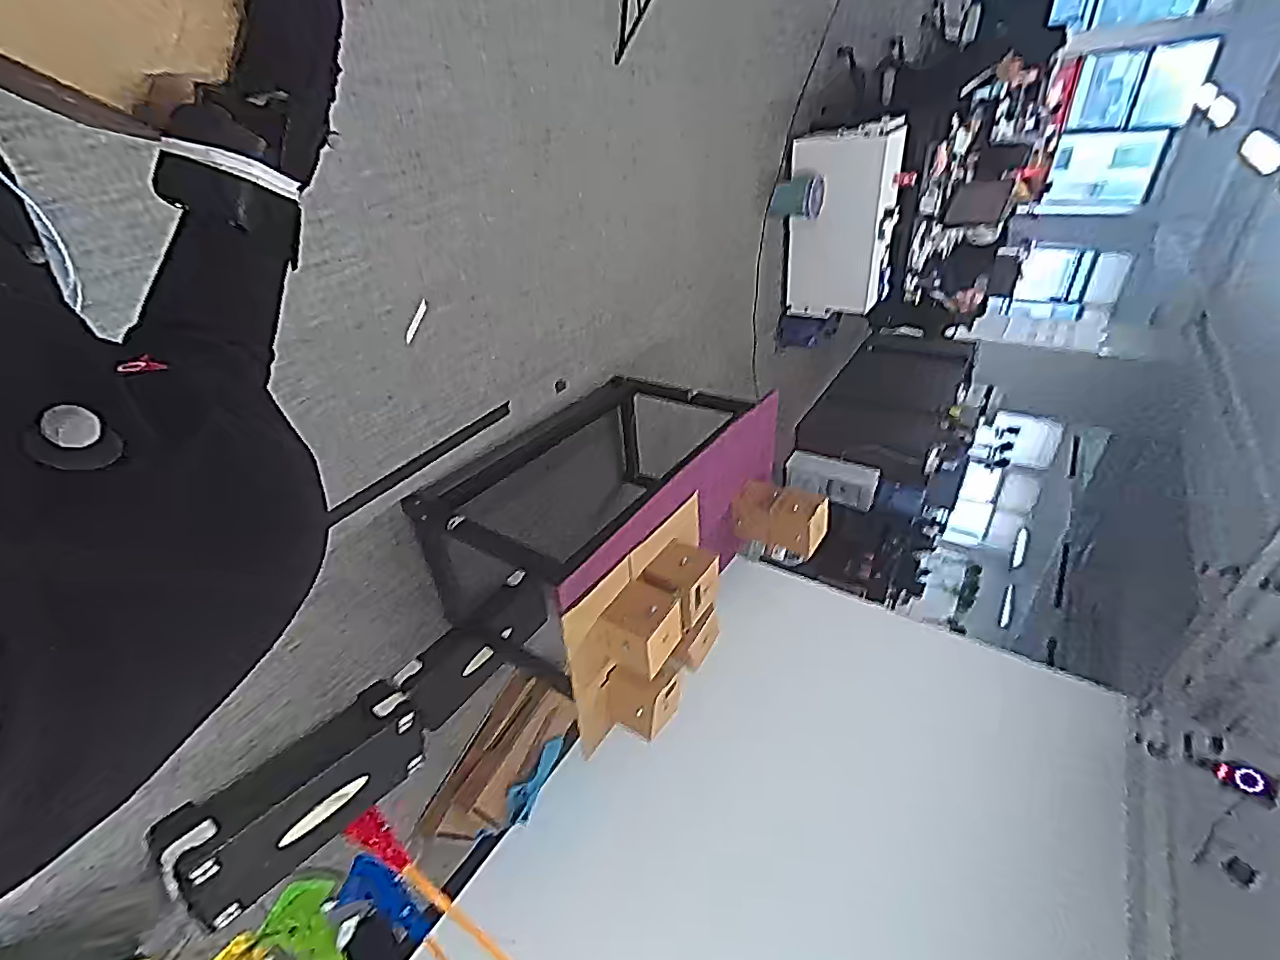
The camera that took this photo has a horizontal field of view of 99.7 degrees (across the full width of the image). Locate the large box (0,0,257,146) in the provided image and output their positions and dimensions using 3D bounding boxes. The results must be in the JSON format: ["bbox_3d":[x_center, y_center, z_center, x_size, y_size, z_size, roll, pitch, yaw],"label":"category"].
[{"bbox_3d":[-0.475,-0.450,0.279,0.408,0.320,0.320,6,108,-60],"label":"large box"}]
